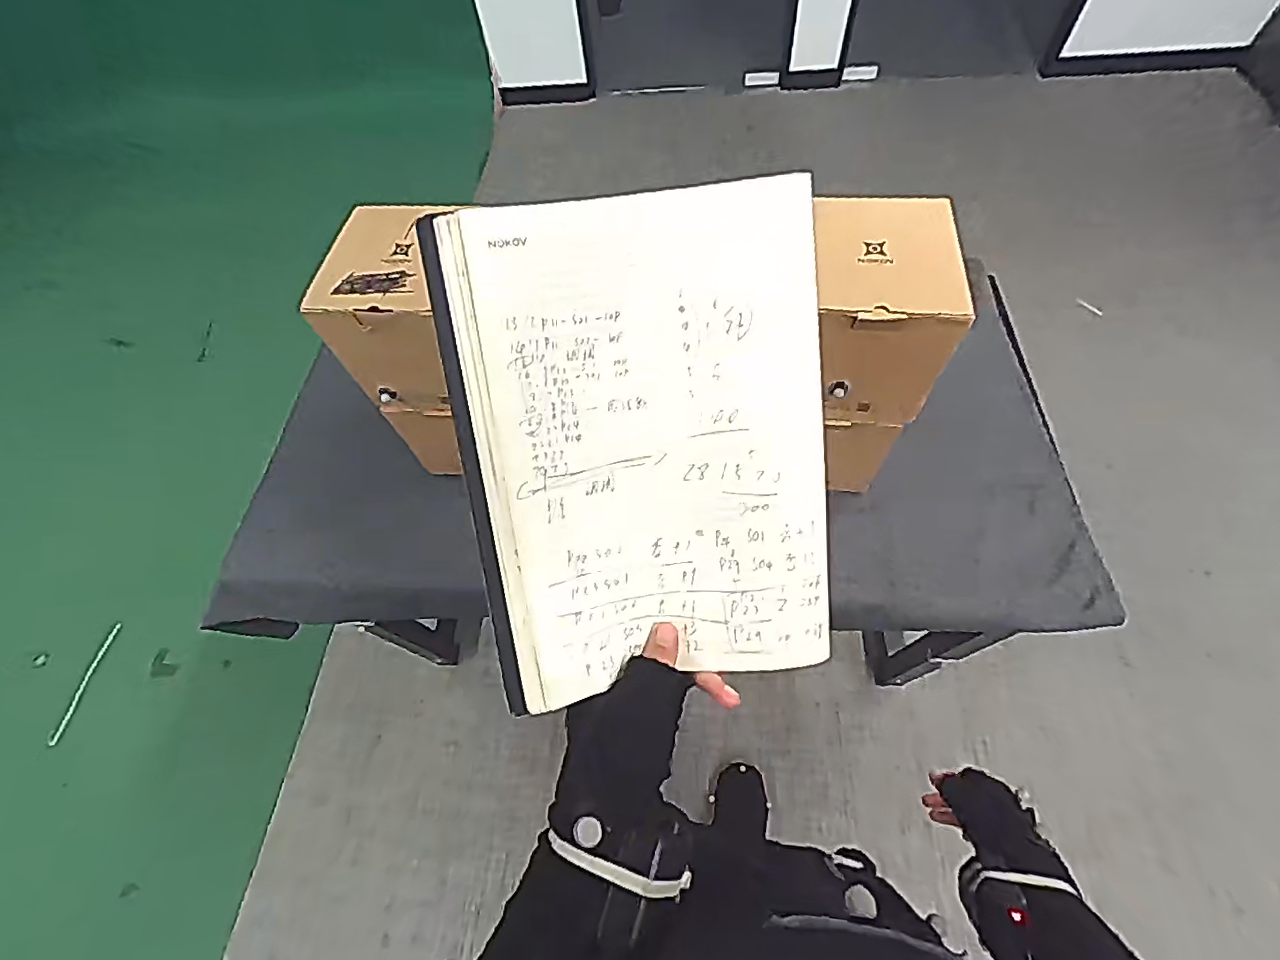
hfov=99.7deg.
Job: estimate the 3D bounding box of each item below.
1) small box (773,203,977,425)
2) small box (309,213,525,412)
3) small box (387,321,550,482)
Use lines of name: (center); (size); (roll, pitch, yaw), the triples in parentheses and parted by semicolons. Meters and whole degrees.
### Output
small box: (0.247, -0.186, 0.617); (0.168, 0.176, 0.179); (4, 61, 7)
small box: (-0.254, -0.201, 0.669); (0.168, 0.176, 0.179); (3, 59, 7)
small box: (-0.239, -0.117, 0.808); (0.168, 0.176, 0.179); (2, 60, 6)
